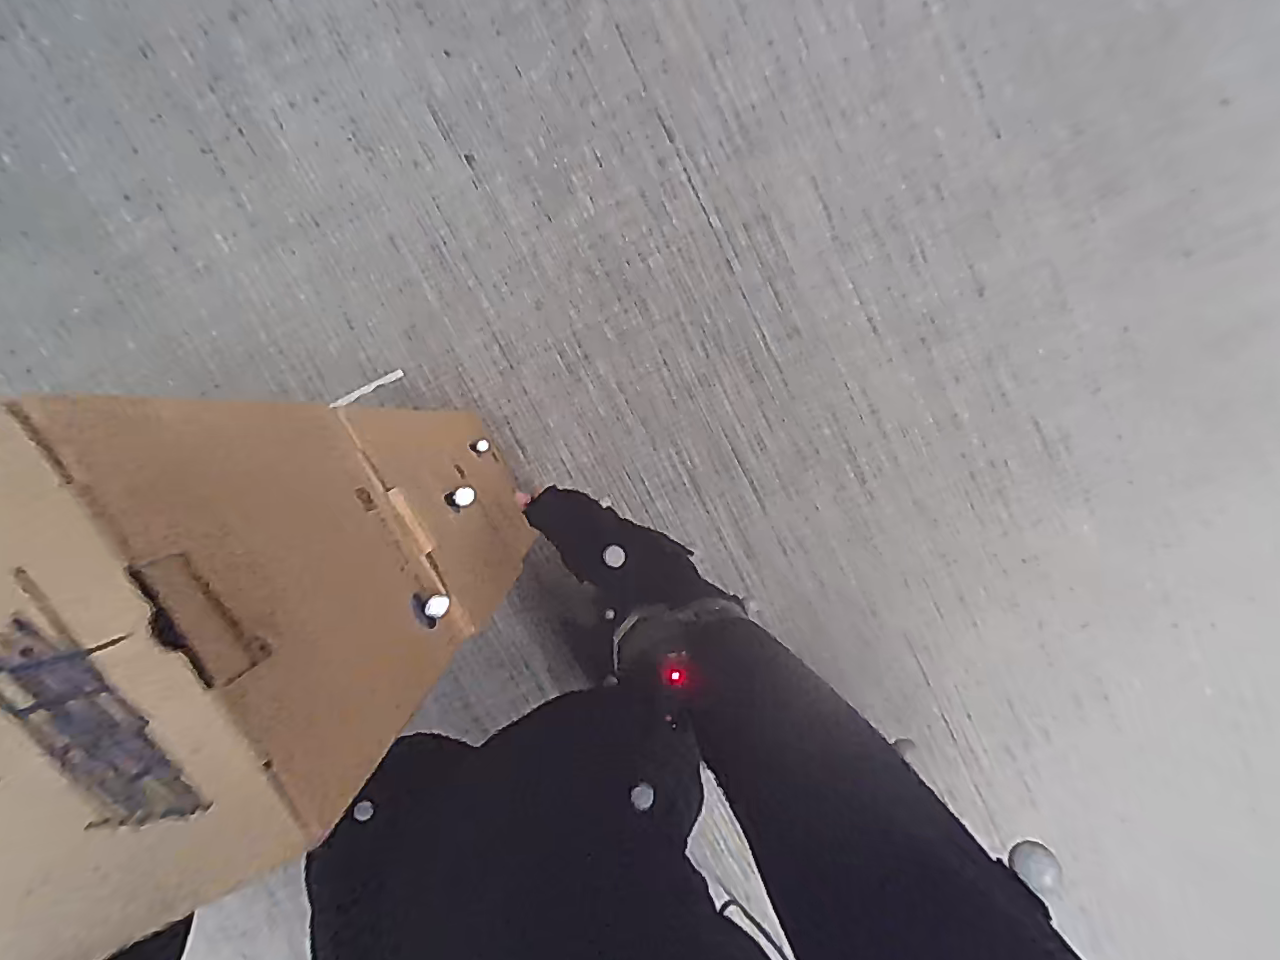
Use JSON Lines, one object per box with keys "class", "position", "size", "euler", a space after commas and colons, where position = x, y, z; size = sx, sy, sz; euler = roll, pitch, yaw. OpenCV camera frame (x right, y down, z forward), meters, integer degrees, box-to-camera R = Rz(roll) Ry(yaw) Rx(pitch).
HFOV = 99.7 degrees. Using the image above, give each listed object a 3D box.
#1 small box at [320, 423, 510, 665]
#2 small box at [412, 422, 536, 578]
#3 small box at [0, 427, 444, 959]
{"class": "small box", "position": [-0.216, 0.067, 0.414], "size": [0.179, 0.176, 0.168], "euler": [-29, 94, 2]}
{"class": "small box", "position": [-0.227, 0.046, 0.577], "size": [0.179, 0.176, 0.168], "euler": [-28, 95, 4]}
{"class": "small box", "position": [-0.216, 0.084, 0.252], "size": [0.179, 0.176, 0.168], "euler": [-31, 97, 1]}
